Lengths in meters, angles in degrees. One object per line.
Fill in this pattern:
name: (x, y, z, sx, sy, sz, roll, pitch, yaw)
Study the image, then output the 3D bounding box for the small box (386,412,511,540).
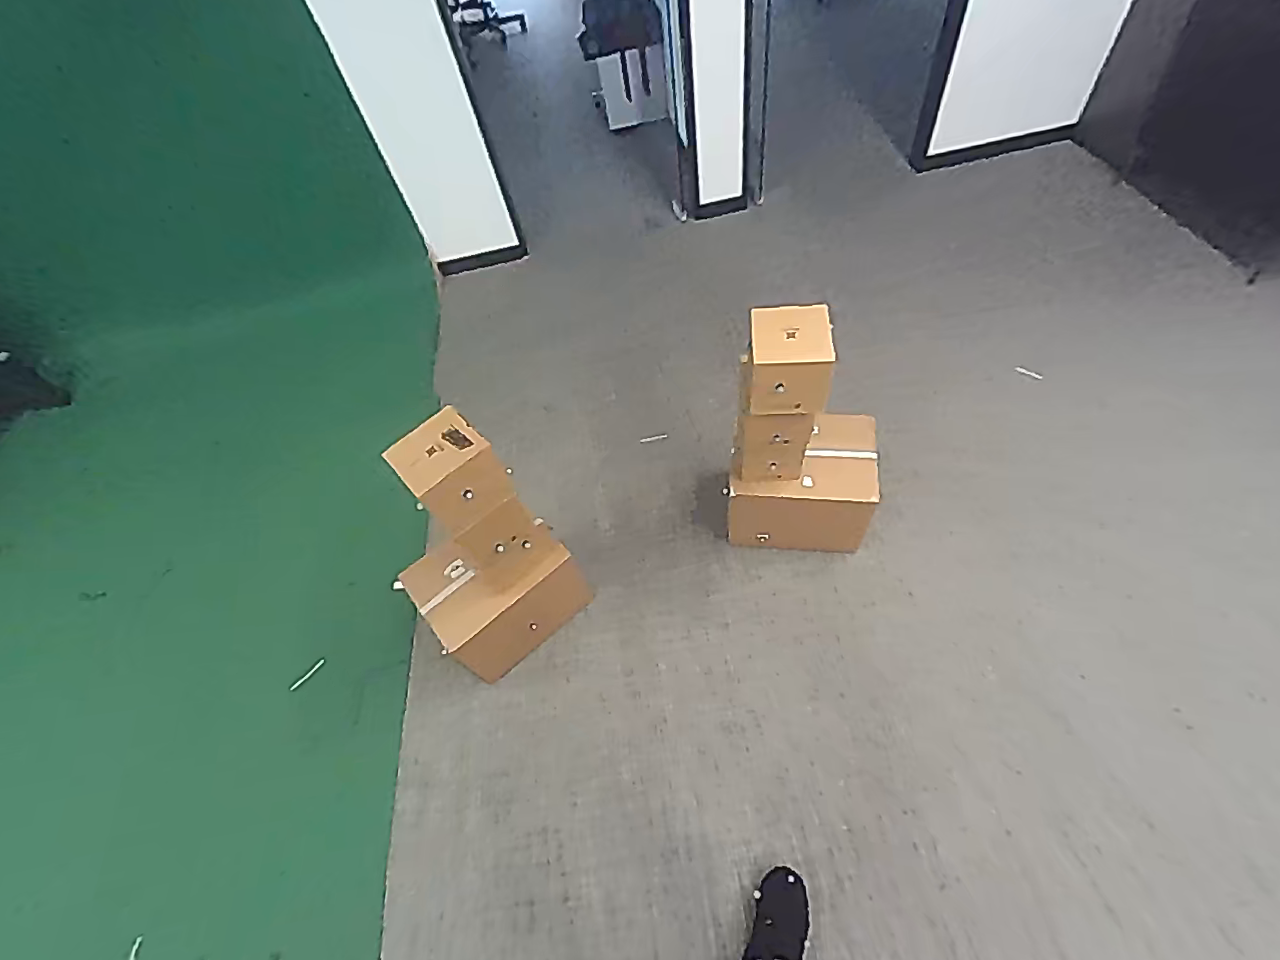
small box: (-0.399, -0.005, 1.165, 0.179, 0.176, 0.168, -40, 58, -16)

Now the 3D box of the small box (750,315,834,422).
small box: (0.335, -0.244, 1.218, 0.168, 0.176, 0.179, 0, 55, 9)

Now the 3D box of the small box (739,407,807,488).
small box: (0.364, -0.088, 1.506, 0.168, 0.176, 0.179, -2, 55, 7)

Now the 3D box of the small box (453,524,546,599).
small box: (-0.367, 0.179, 1.432, 0.179, 0.176, 0.168, -39, 57, -18)

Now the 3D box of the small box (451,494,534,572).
small box: (-0.383, 0.088, 1.298, 0.168, 0.176, 0.179, -38, 58, -16)

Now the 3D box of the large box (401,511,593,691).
large box: (-0.408, 0.348, 1.623, 0.408, 0.320, 0.320, -39, 56, -17)
